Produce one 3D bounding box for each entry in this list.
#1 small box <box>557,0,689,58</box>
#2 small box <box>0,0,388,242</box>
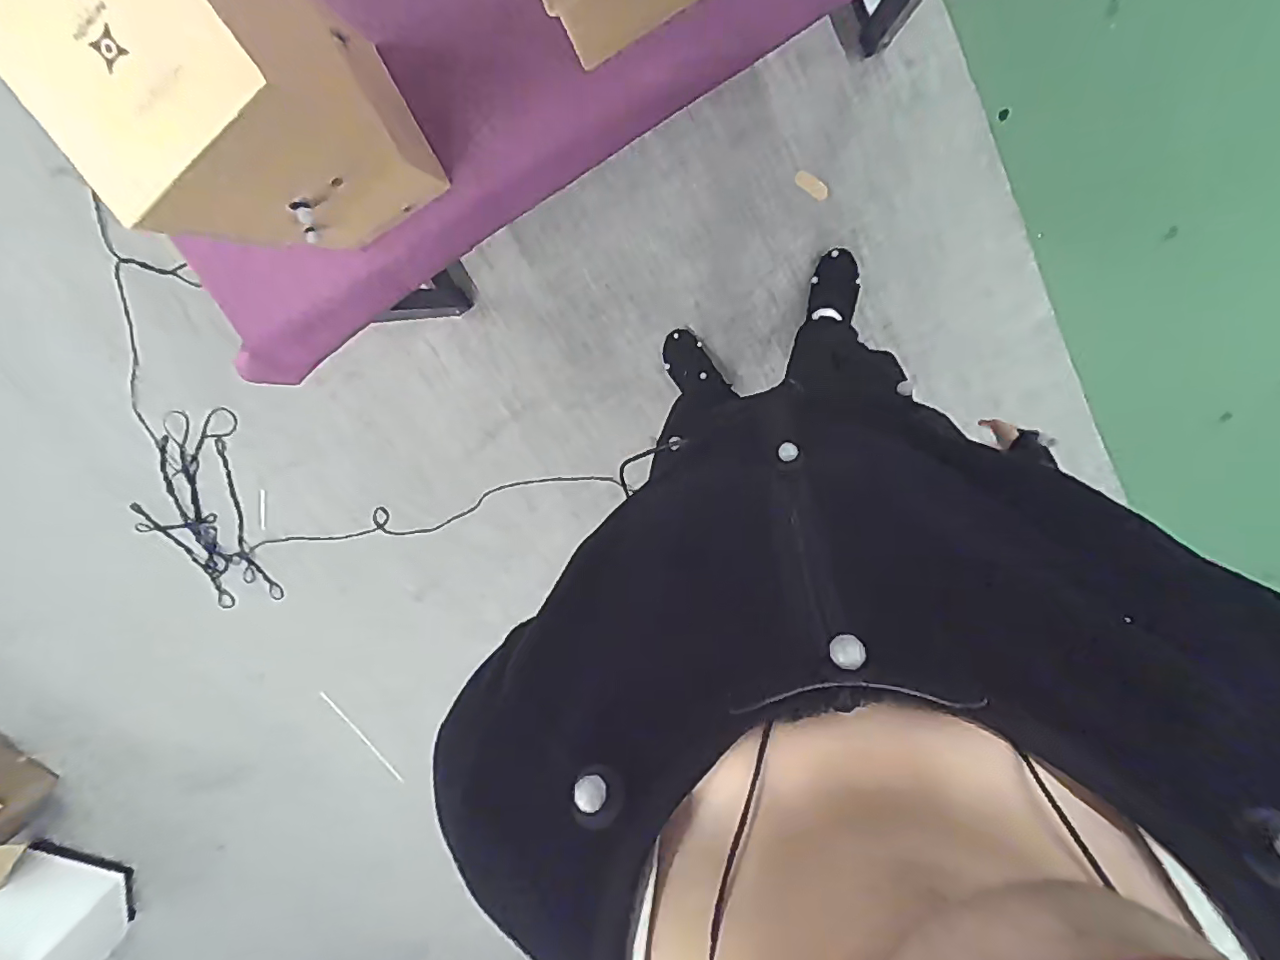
[{"bbox_3d":[-0.027,-0.554,0.507,0.179,0.176,0.168,-25,104,12],"label":"small box"},{"bbox_3d":[-0.355,-0.323,0.442,0.168,0.176,0.179,-31,102,14],"label":"small box"}]
